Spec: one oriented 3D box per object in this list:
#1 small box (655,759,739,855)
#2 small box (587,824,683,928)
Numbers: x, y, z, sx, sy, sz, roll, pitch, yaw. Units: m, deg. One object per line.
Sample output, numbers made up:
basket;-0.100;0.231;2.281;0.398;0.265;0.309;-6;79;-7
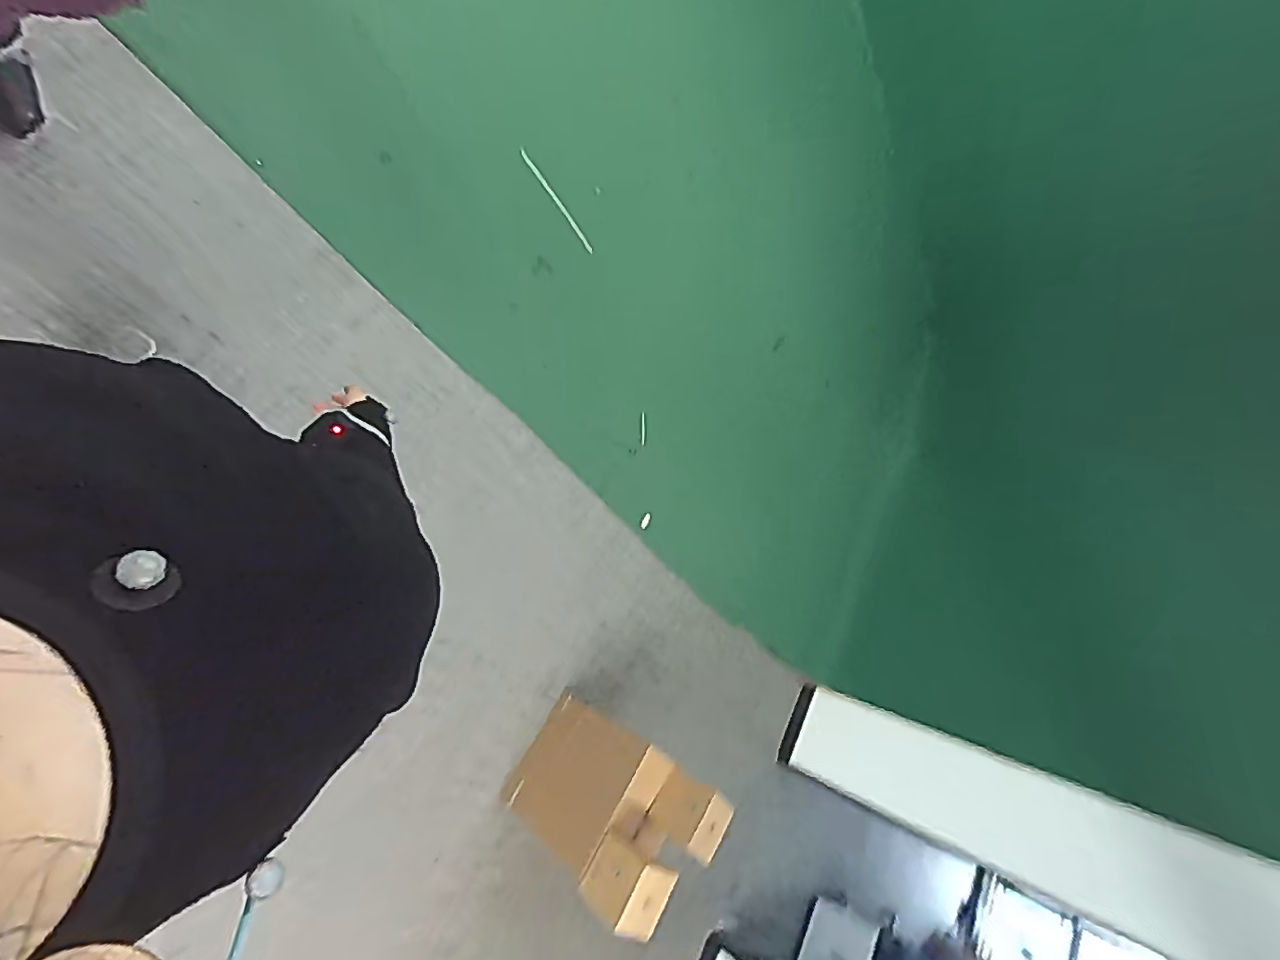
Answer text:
small box;0.178;1.021;1.702;0.179;0.176;0.168;-51;127;-25
small box;-0.017;1.113;1.529;0.179;0.176;0.168;49;64;-36
